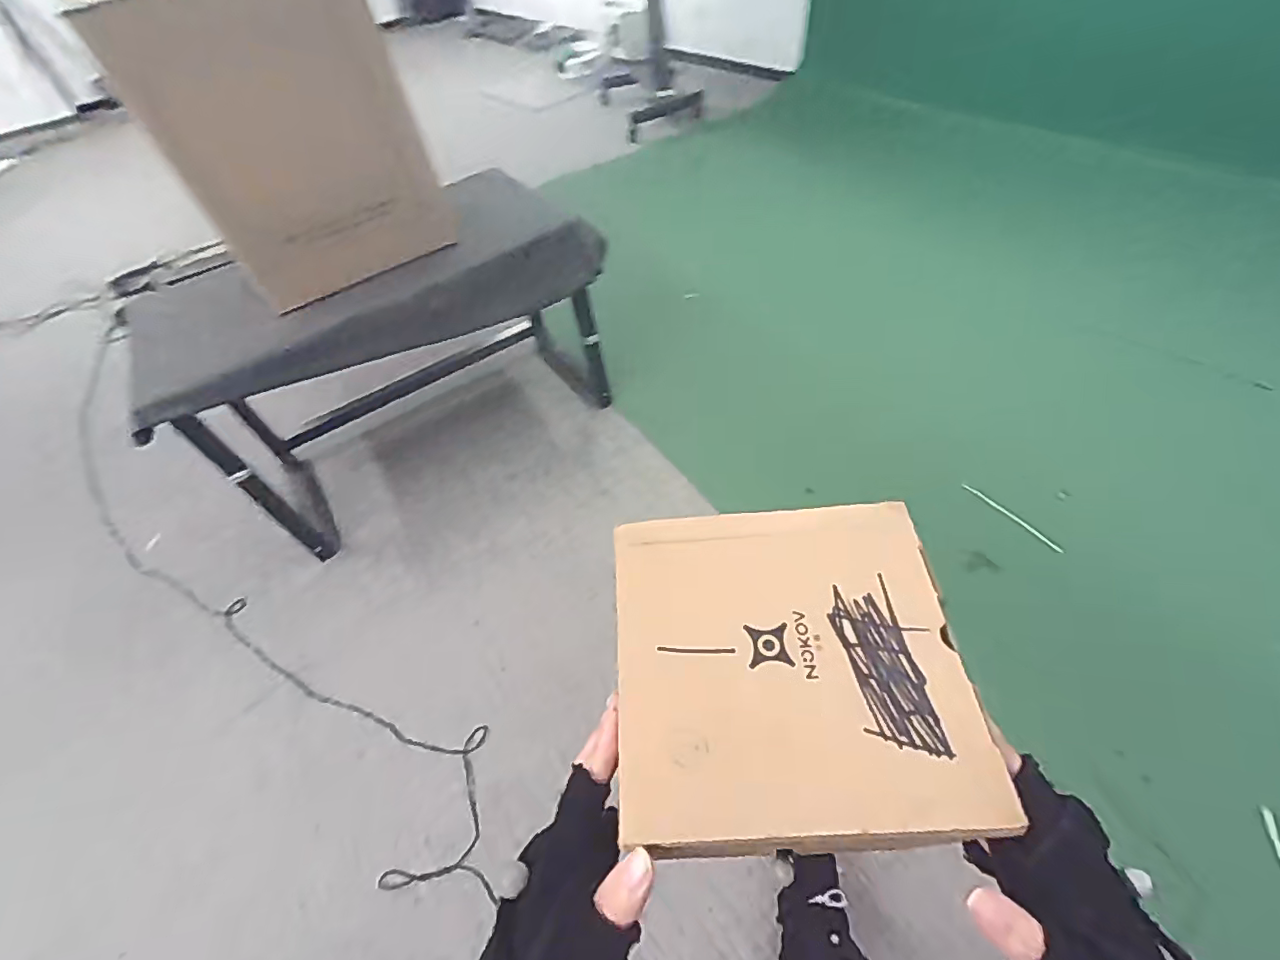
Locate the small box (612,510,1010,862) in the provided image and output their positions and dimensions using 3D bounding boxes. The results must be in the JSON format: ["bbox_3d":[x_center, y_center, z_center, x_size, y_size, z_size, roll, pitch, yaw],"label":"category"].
[{"bbox_3d":[0.077,0.138,0.350,0.179,0.176,0.168,-6,54,-2],"label":"small box"}]
